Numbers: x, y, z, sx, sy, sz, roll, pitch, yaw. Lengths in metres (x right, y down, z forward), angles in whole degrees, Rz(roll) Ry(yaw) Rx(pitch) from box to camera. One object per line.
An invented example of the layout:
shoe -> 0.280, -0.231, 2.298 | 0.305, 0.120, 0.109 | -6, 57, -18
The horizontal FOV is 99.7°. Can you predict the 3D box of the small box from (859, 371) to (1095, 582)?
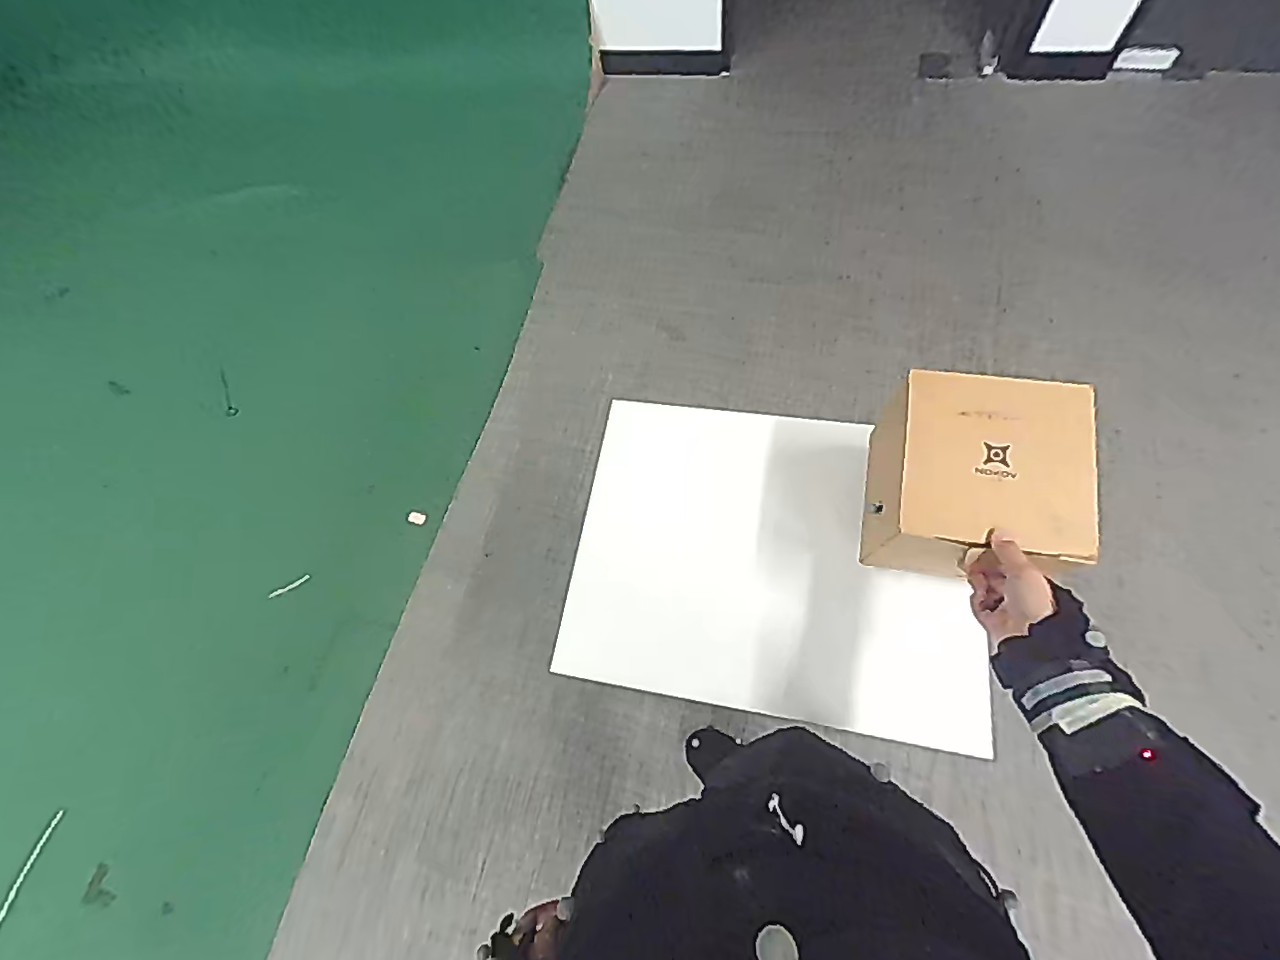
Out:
small box -> 0.342, 0.006, 0.581 | 0.168, 0.176, 0.179 | 7, 73, 11
